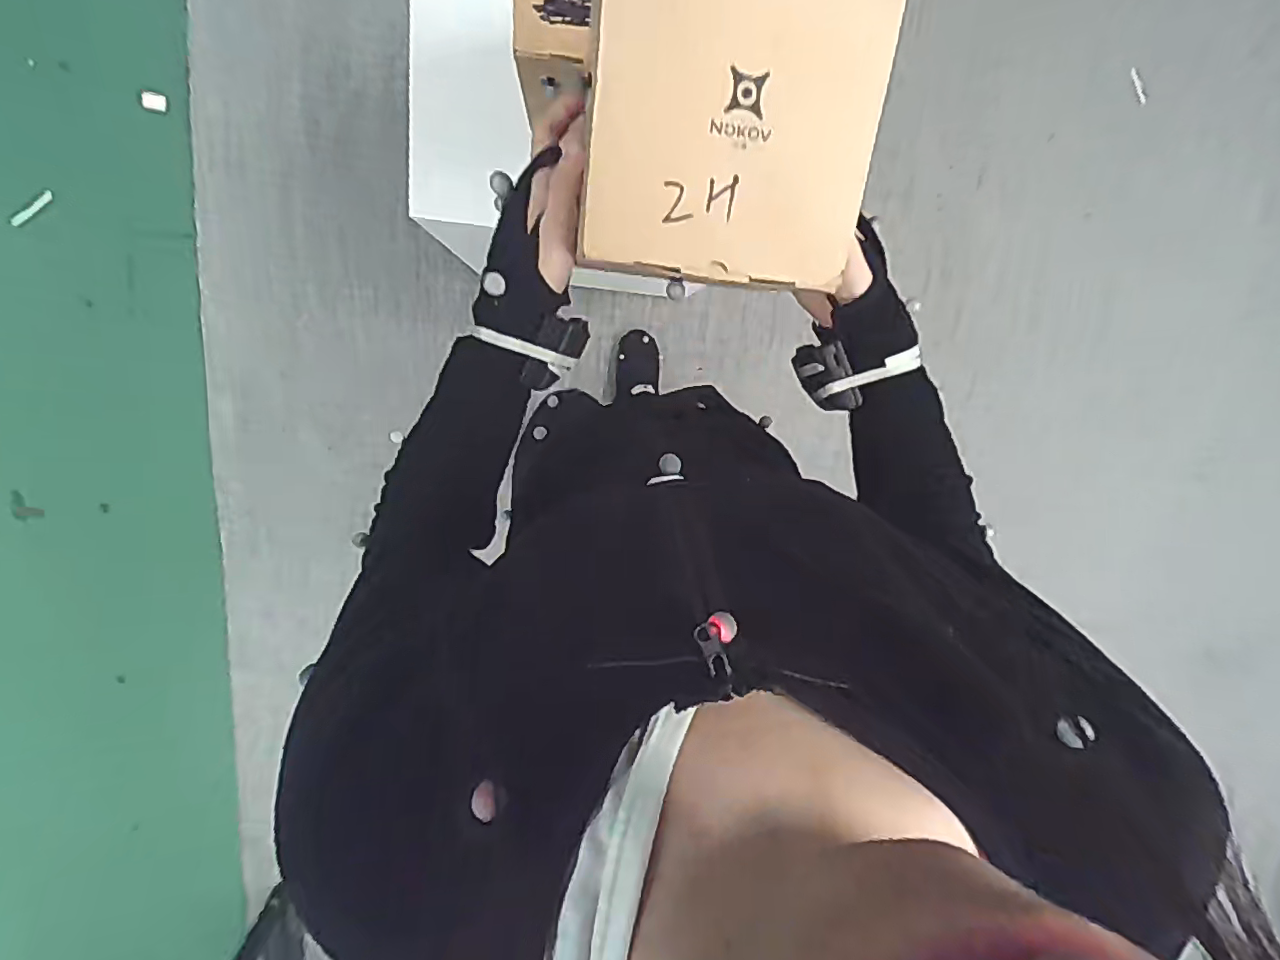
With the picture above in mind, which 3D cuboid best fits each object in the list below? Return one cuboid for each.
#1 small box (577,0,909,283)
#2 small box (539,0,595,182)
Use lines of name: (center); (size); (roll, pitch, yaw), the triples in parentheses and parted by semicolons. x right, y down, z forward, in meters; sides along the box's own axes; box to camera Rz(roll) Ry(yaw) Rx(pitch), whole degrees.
small box: (0.046, -0.237, 0.369); (0.168, 0.176, 0.179); (3, 109, -9)
small box: (-0.036, -0.495, 0.688); (0.168, 0.176, 0.179); (4, 102, -7)
